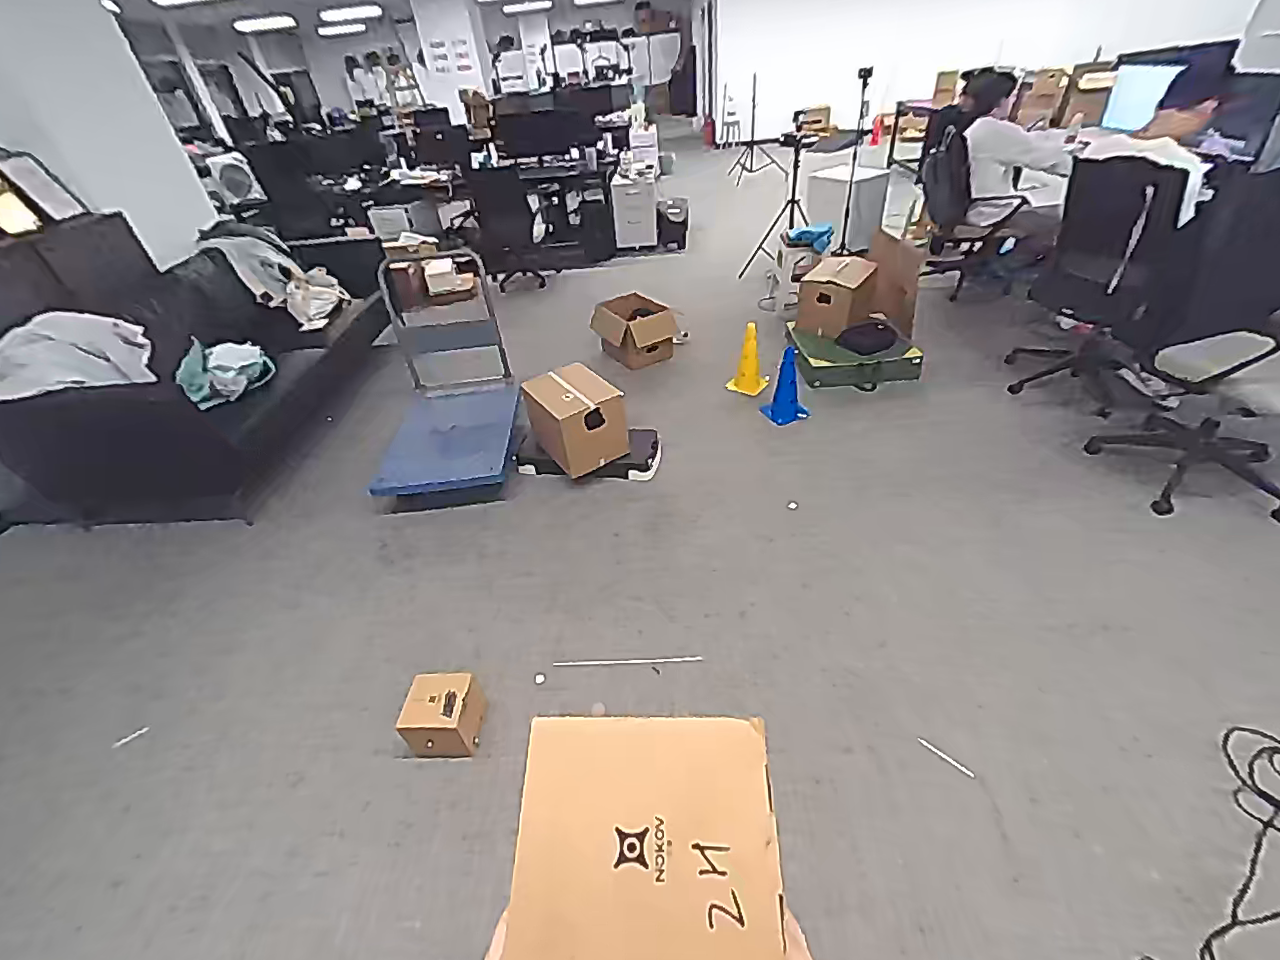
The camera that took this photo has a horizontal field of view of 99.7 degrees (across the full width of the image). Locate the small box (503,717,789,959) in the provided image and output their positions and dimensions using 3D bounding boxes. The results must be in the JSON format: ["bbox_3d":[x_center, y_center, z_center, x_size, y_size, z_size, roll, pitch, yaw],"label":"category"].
[{"bbox_3d":[0.010,0.290,0.422,0.179,0.176,0.168,-1,57,4],"label":"small box"}]

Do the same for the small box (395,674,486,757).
[{"bbox_3d":[-0.564,0.677,1.556,0.179,0.176,0.168,-3,38,6],"label":"small box"}]
